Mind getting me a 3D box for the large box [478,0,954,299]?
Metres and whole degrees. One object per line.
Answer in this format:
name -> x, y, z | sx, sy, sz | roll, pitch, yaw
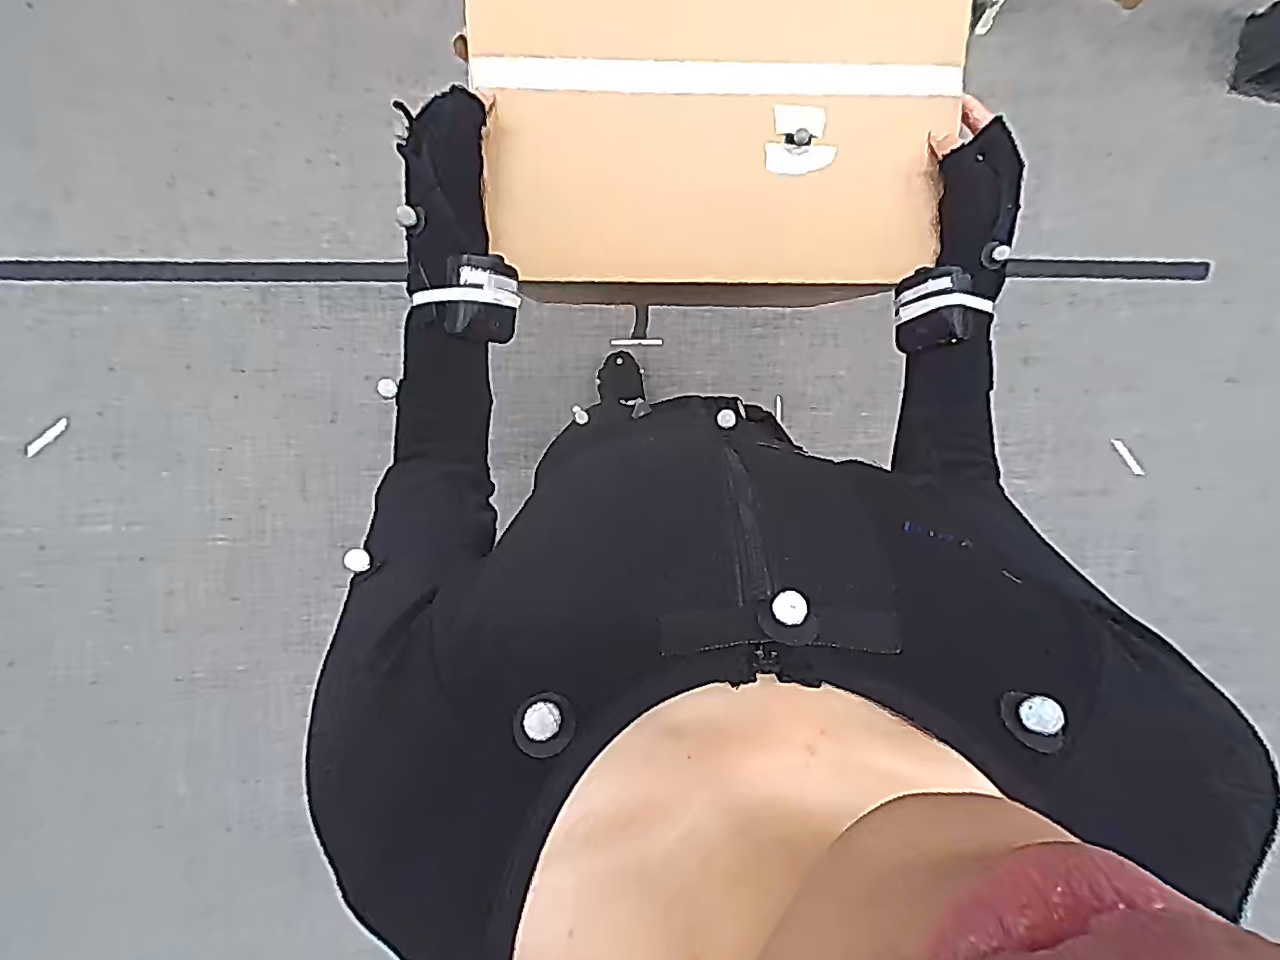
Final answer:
large box -> 0.057, -0.379, 0.606 | 0.408, 0.320, 0.320 | -1, 105, -3
